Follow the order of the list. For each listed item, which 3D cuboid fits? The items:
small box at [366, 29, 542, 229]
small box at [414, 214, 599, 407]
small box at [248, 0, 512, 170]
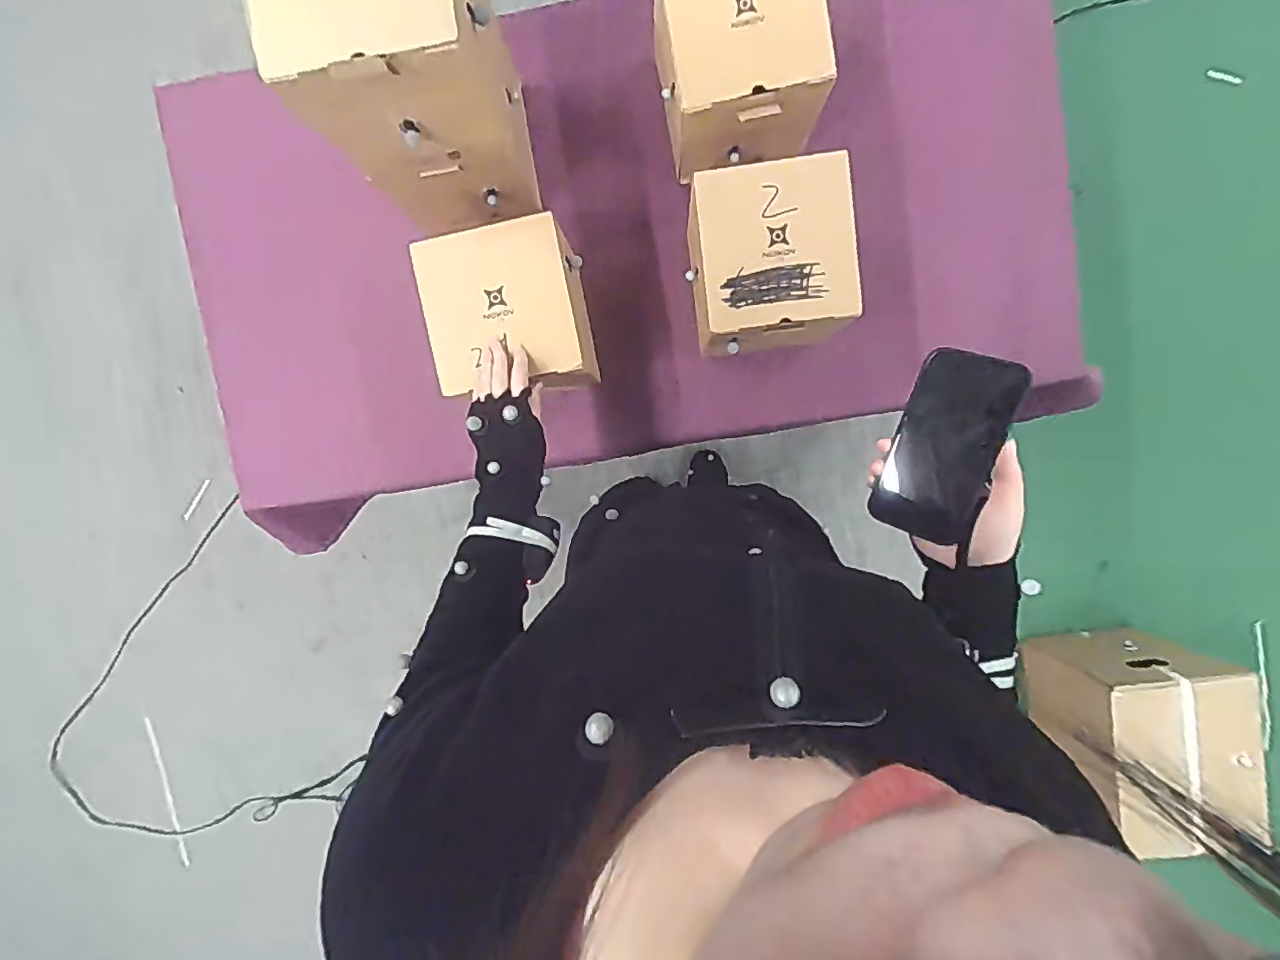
[{"bbox_3d":[-0.228,-0.430,0.666,0.168,0.176,0.179,-9,94,3],"label":"small box"},{"bbox_3d":[-0.154,-0.197,0.679,0.168,0.176,0.179,-10,92,4],"label":"small box"},{"bbox_3d":[-0.229,-0.416,0.502,0.168,0.176,0.179,-9,95,2],"label":"small box"}]
